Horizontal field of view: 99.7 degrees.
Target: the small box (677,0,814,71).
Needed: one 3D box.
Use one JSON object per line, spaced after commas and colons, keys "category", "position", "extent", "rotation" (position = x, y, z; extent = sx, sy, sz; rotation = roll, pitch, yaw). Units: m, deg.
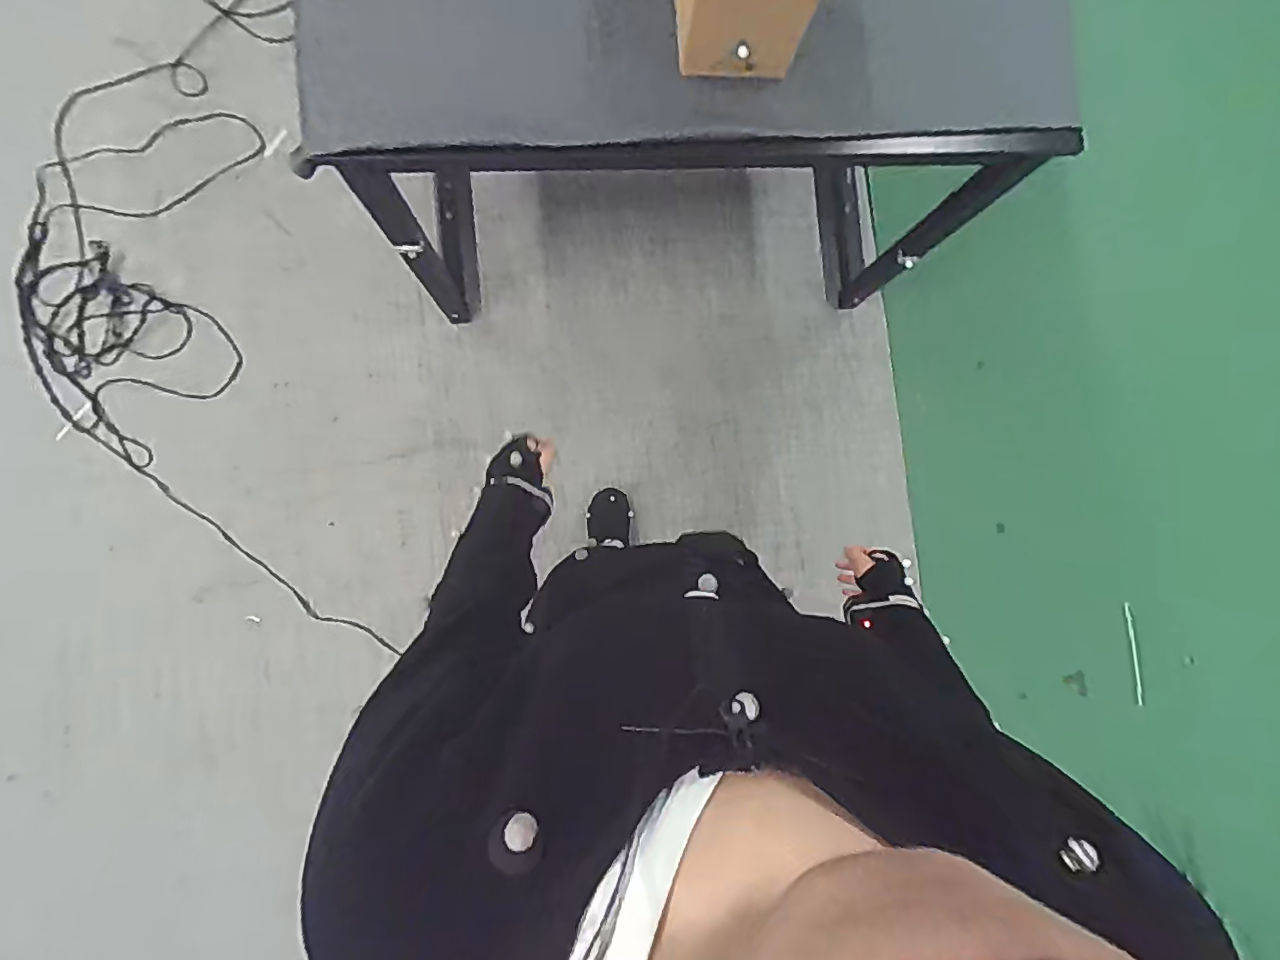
{"category": "small box", "position": [0.143, -0.714, 0.743], "extent": [0.168, 0.176, 0.179], "rotation": [-3, 87, -5]}
